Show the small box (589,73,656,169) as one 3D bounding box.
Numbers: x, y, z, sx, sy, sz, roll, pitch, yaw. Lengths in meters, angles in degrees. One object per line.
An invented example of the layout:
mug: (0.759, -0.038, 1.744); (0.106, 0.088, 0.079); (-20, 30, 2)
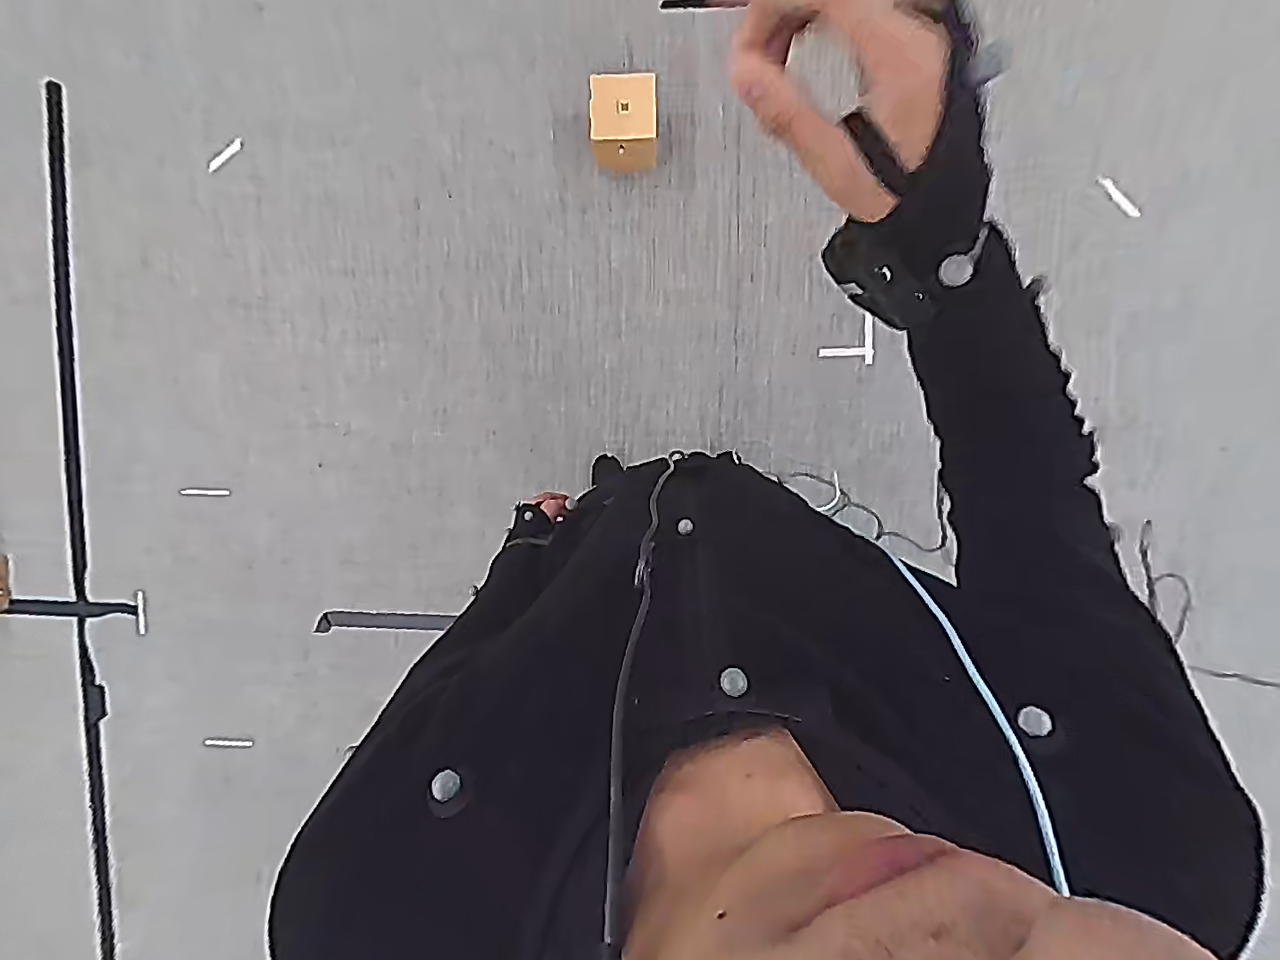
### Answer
small box: (-0.043, -0.986, 1.495); (0.179, 0.176, 0.168); (0, 94, 3)
